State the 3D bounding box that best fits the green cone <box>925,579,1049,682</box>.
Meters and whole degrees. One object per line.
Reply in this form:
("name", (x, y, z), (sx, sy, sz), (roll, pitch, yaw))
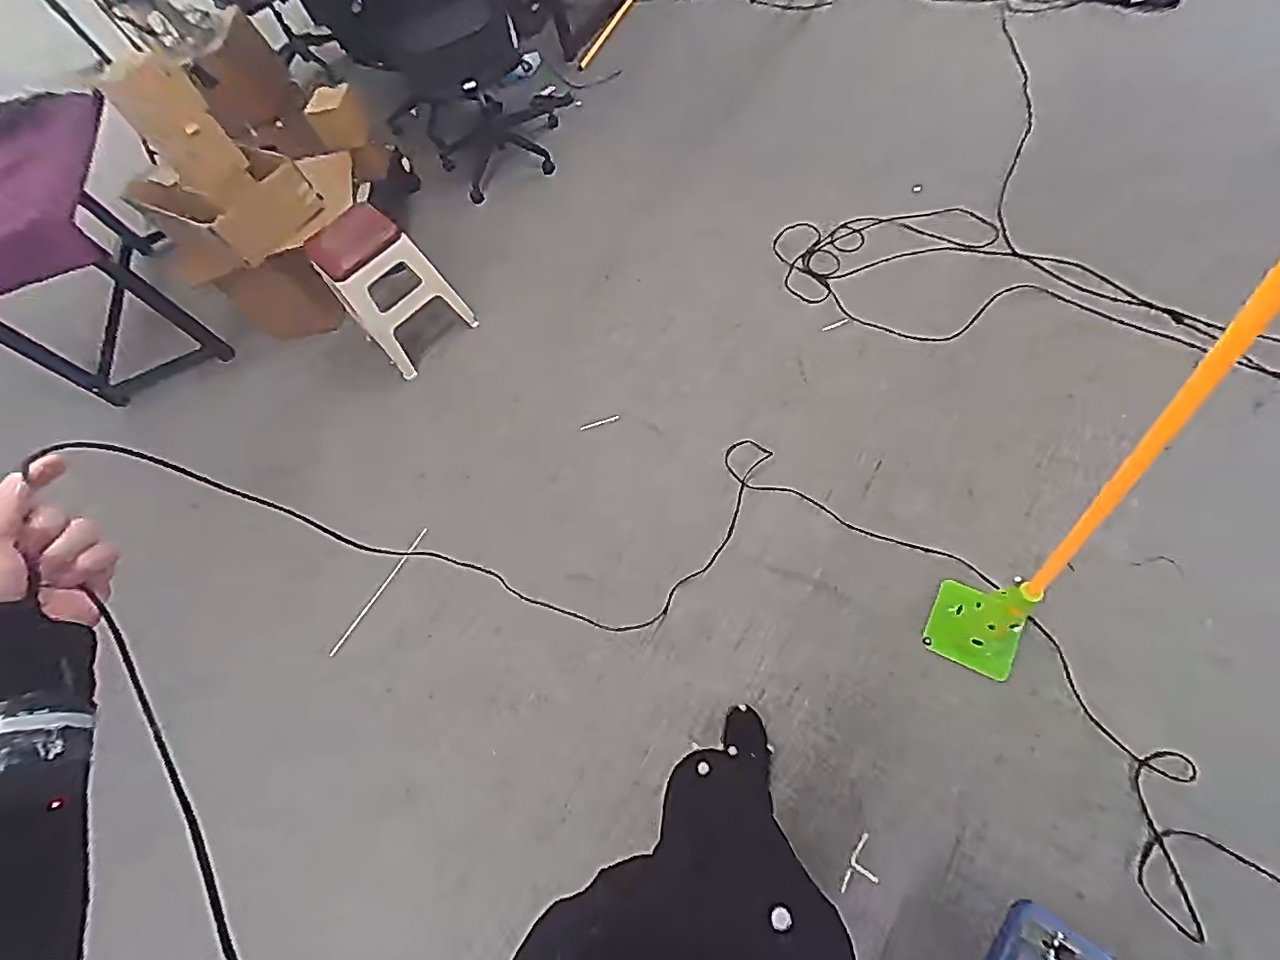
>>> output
("green cone", (0.811, 0.298, 1.207), (0.200, 0.368, 0.202), (23, 70, 22))
